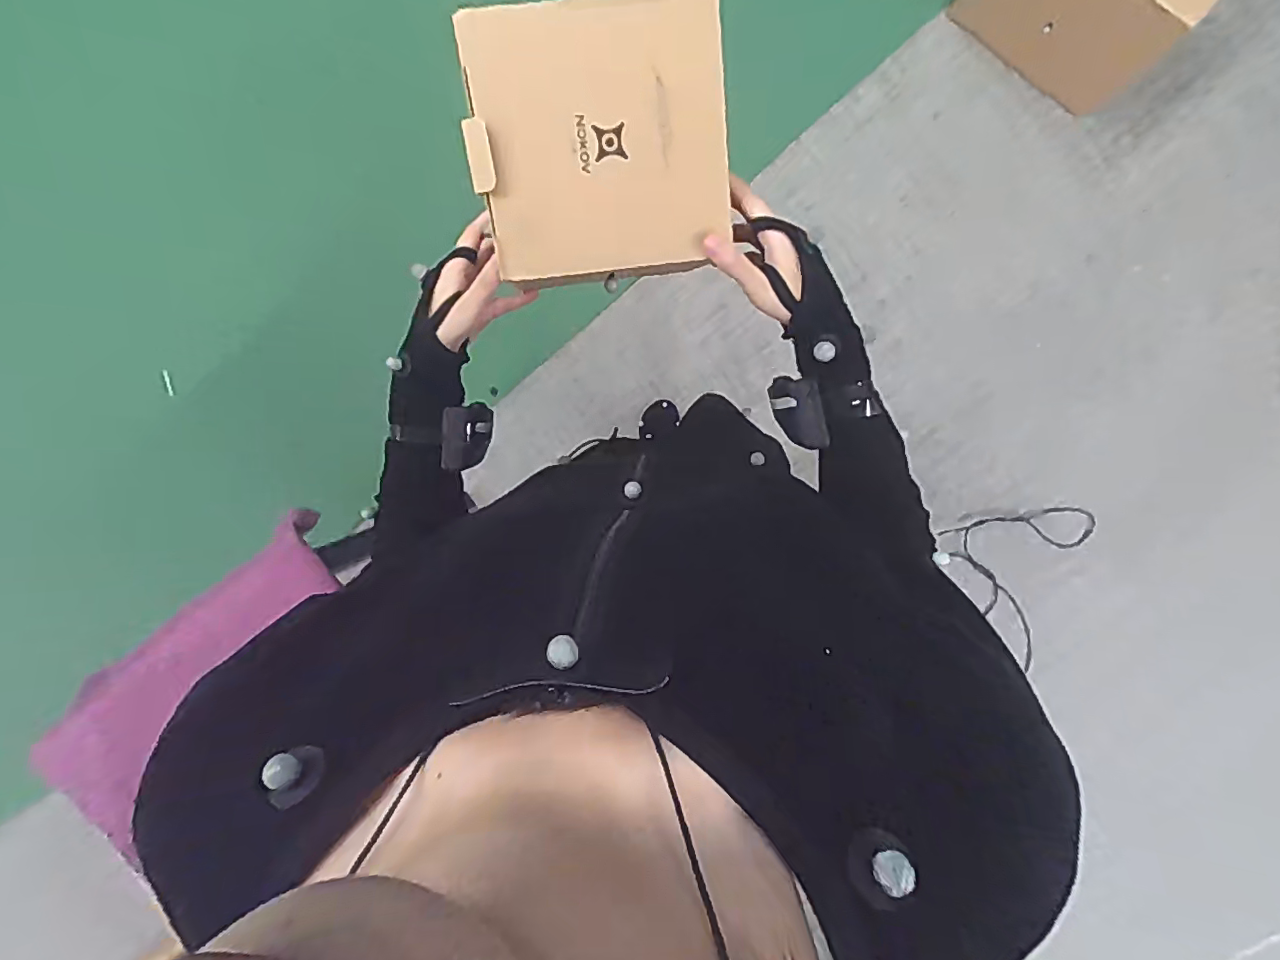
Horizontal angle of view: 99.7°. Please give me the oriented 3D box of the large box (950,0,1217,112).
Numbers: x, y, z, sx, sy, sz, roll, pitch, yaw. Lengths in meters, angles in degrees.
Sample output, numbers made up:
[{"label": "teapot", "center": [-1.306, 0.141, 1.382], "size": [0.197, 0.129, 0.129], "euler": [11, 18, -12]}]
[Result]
[{"label": "large box", "center": [0.958, -1.077, 1.108], "size": [0.408, 0.320, 0.320], "euler": [37, 99, 2]}]

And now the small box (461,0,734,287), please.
[{"label": "small box", "center": [-0.029, -0.256, 0.449], "size": [0.179, 0.176, 0.168], "euler": [-7, 108, -4]}]
